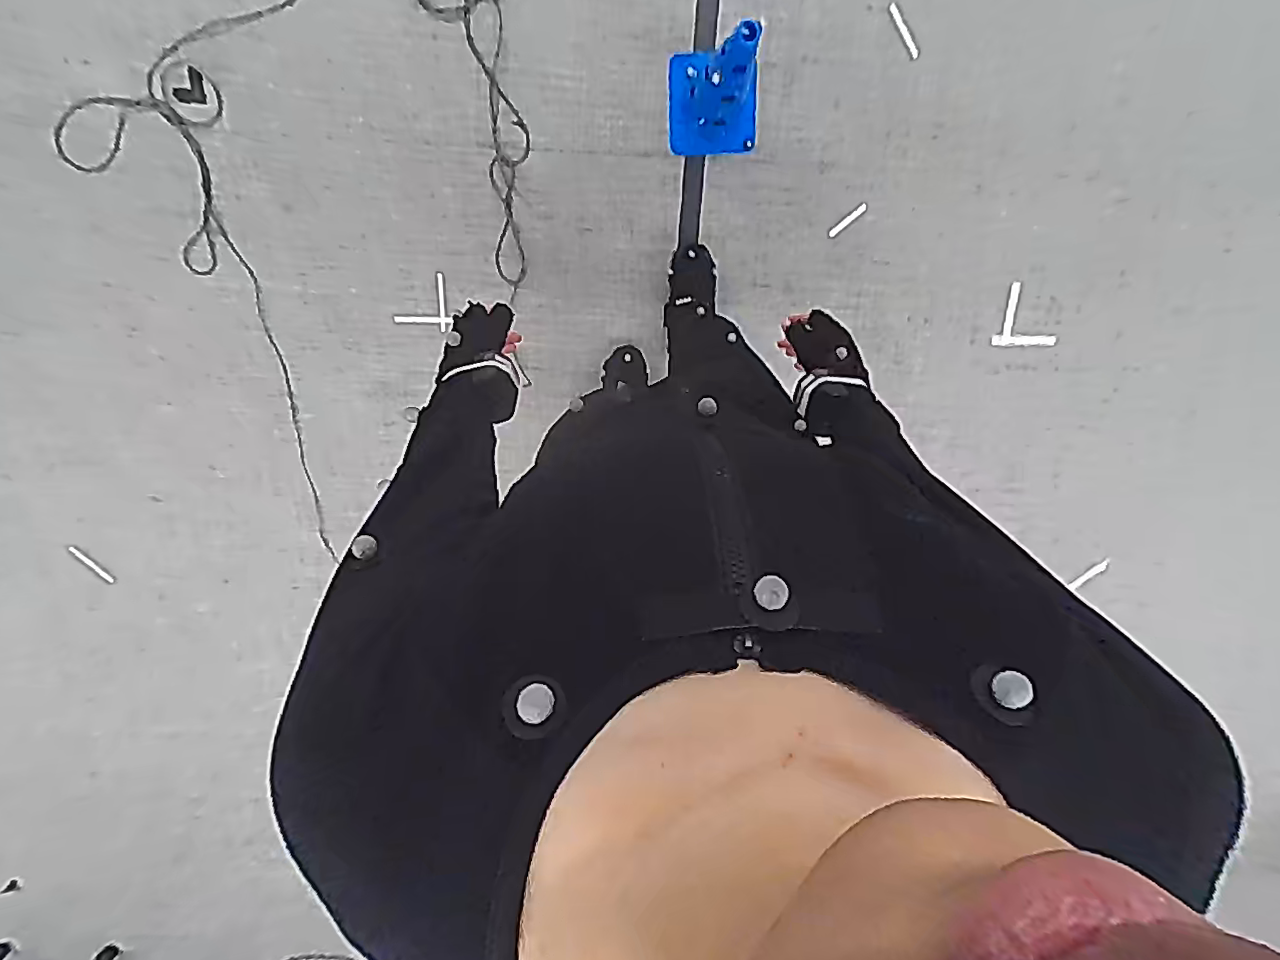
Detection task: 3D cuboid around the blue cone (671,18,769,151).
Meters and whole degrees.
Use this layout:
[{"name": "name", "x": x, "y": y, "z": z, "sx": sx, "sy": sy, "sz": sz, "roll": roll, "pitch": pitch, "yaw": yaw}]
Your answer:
[{"name": "blue cone", "x": 0.177, "y": -0.809, "z": 1.078, "sx": 0.192, "sy": 0.380, "sz": 0.193, "roll": -2, "pitch": 108, "yaw": -3}]
